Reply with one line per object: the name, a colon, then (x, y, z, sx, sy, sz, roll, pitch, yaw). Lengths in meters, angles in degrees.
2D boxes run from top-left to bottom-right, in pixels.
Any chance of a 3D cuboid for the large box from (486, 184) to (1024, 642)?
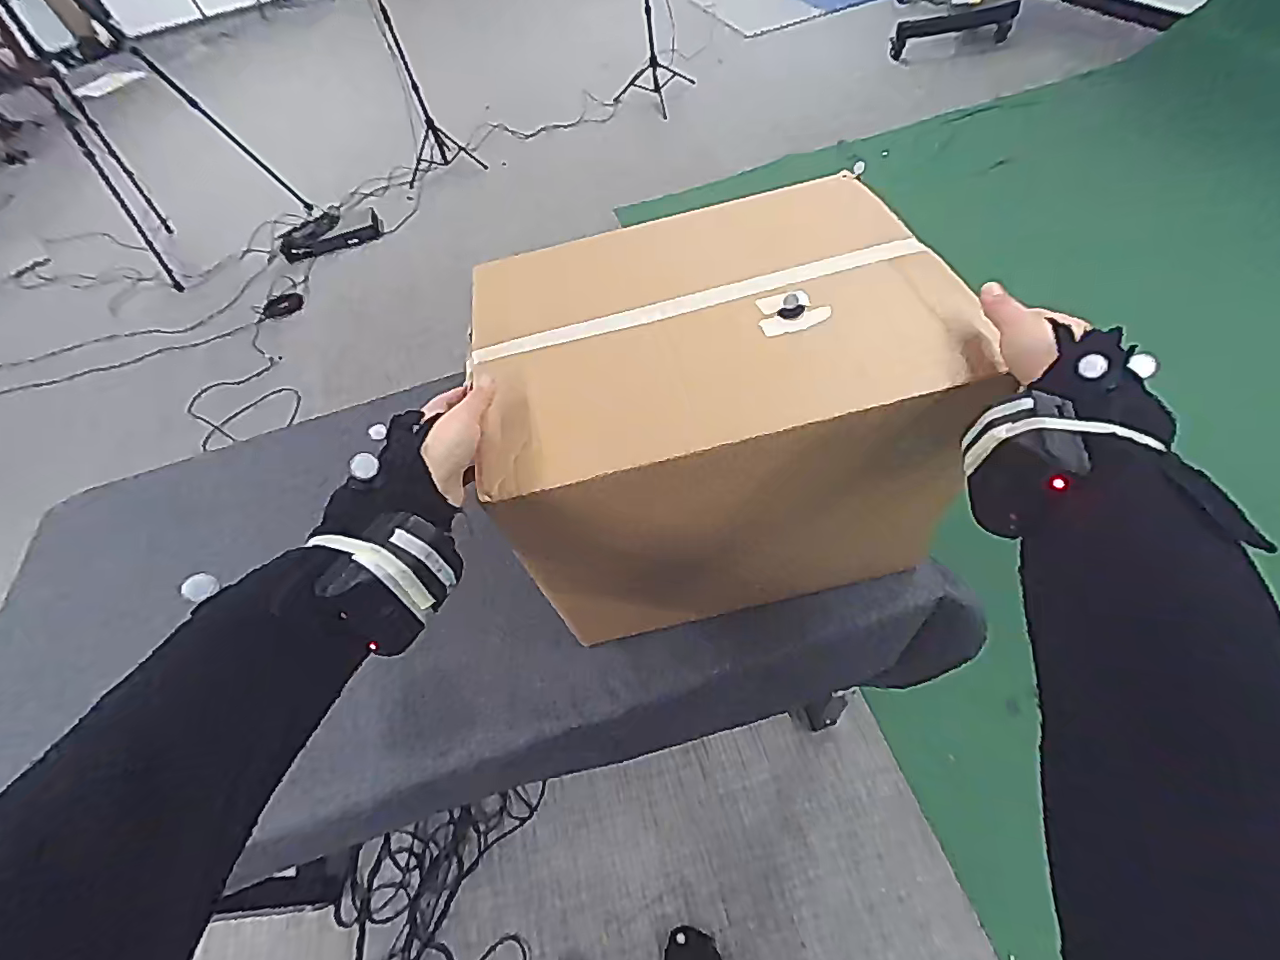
large box: (0.079, -0.061, 0.596, 0.408, 0.320, 0.320, -14, 54, 0)
